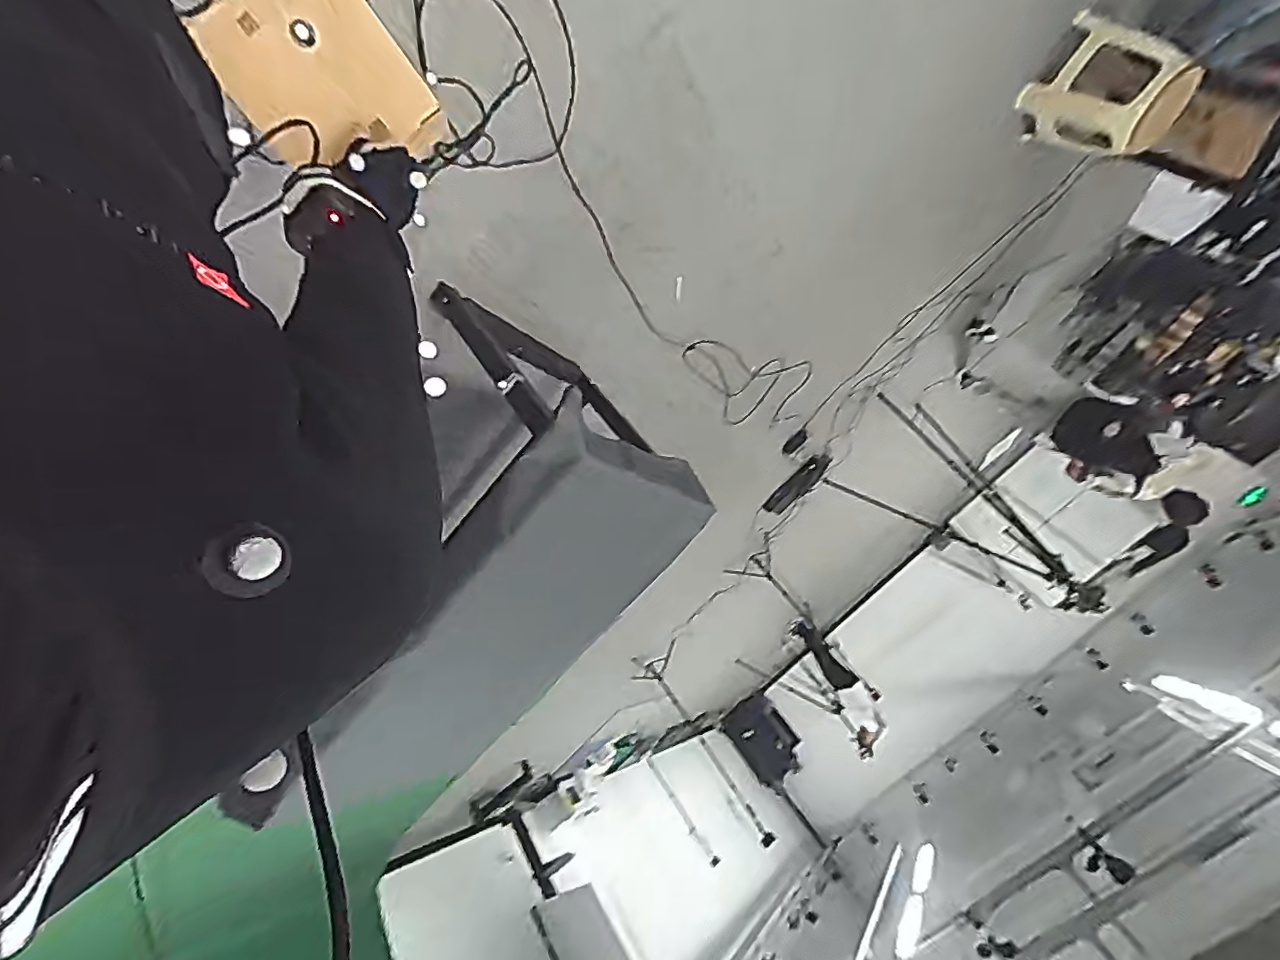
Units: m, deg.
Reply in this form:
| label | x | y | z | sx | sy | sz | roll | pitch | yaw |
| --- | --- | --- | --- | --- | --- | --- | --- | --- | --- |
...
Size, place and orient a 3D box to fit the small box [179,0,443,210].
| label | x | y | z | sx | sy | sz | roll | pitch | yaw |
| --- | --- | --- | --- | --- | --- | --- | --- | --- | --- |
| small box | -0.348 | -0.433 | 0.609 | 0.168 | 0.179 | 0.176 | -36 | 118 | 2 |
